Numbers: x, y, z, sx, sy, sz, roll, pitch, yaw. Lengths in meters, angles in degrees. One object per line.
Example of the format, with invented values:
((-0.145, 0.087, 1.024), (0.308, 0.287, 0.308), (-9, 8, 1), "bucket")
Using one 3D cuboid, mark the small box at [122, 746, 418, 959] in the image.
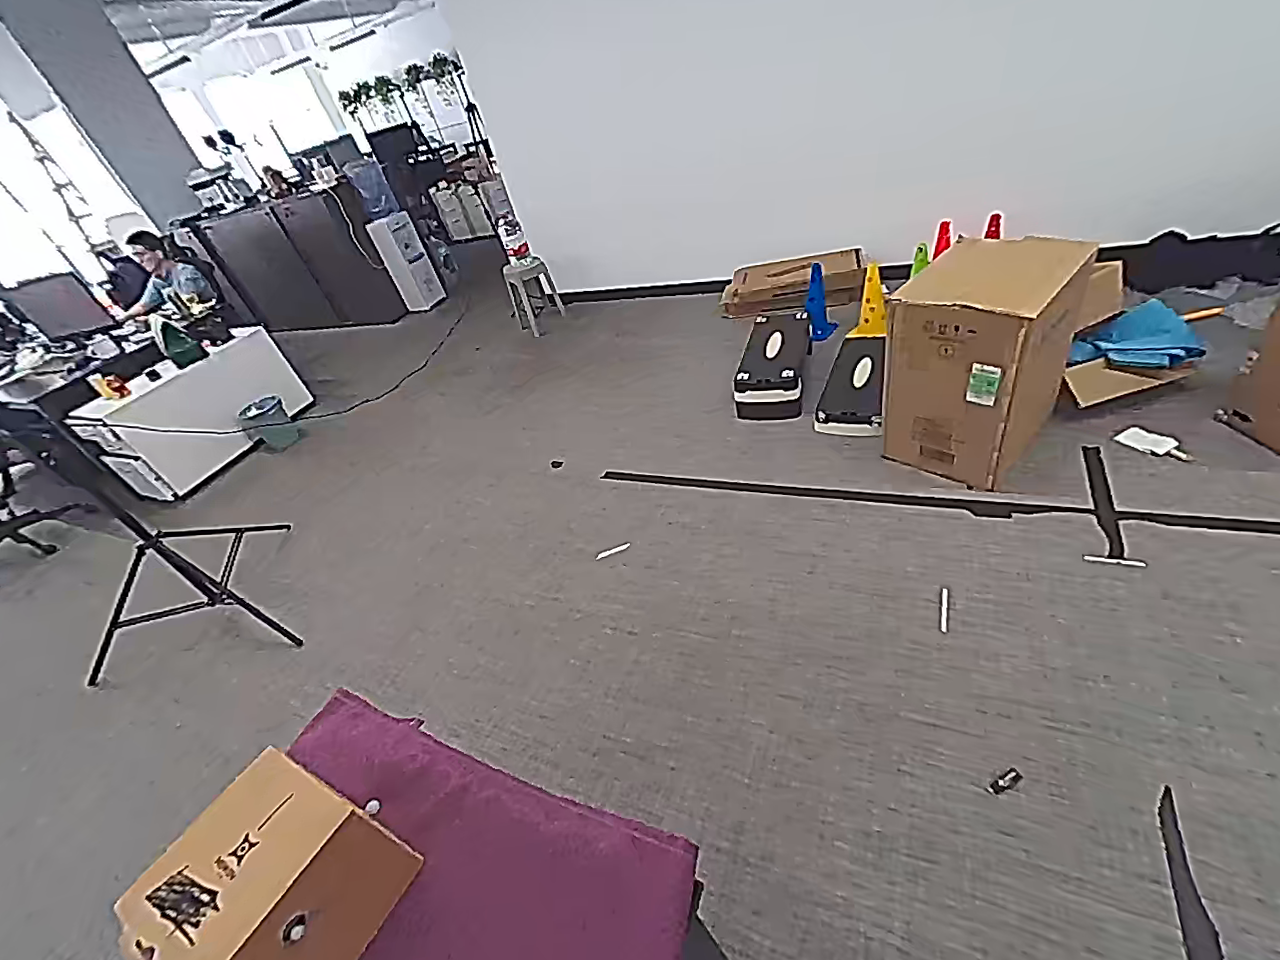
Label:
((-0.387, 0.442, 0.594), (0.168, 0.176, 0.179), (11, 45, 29), "small box")
